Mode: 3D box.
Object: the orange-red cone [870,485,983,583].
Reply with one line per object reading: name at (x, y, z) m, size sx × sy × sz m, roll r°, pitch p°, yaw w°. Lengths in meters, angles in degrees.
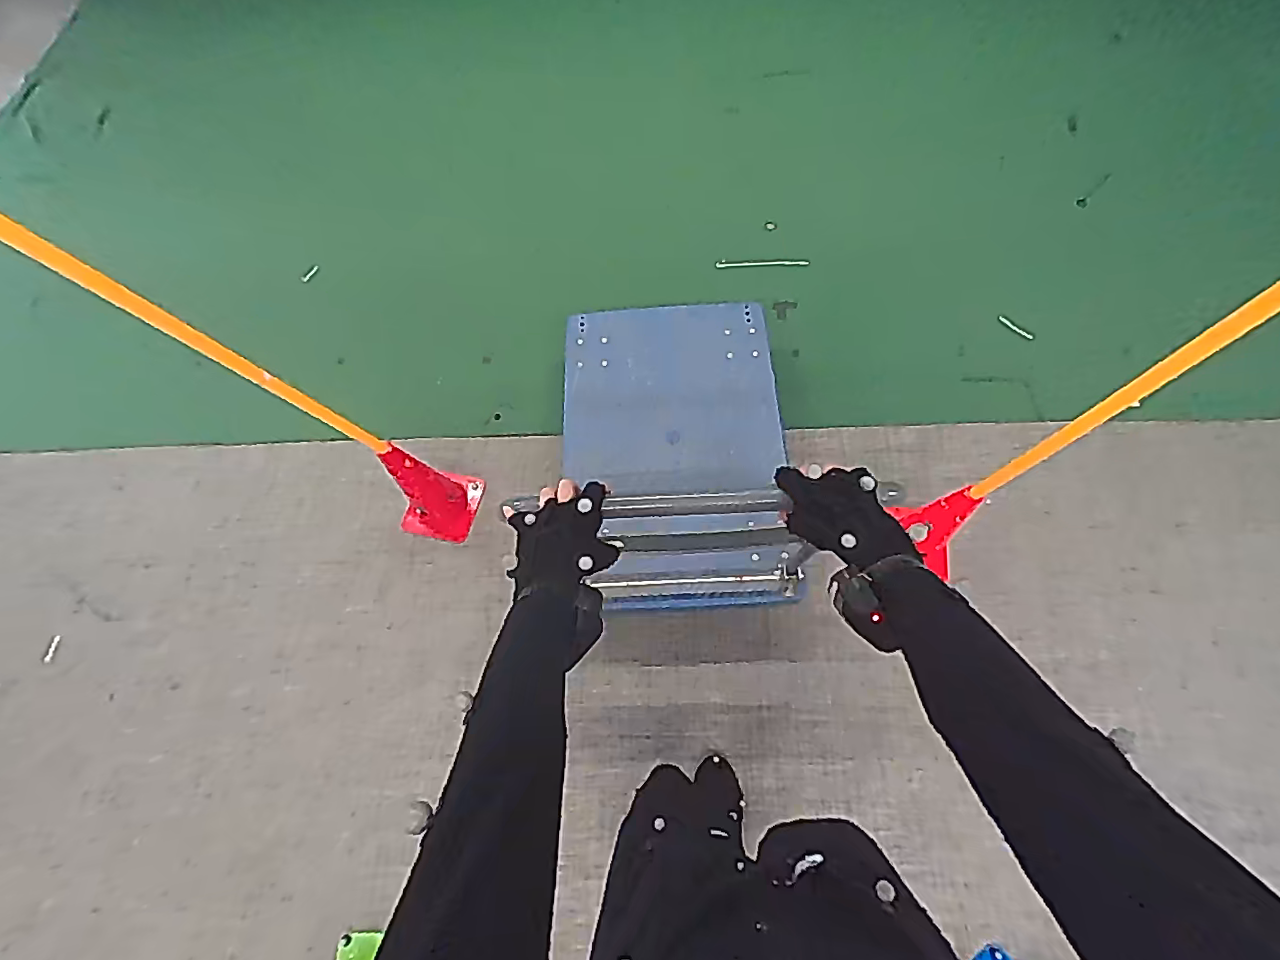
orange-red cone at (0.707, 0.098, 1.285) m, size 0.198 × 0.360 × 0.199 m, roll 9°, pitch 68°, yaw 8°
